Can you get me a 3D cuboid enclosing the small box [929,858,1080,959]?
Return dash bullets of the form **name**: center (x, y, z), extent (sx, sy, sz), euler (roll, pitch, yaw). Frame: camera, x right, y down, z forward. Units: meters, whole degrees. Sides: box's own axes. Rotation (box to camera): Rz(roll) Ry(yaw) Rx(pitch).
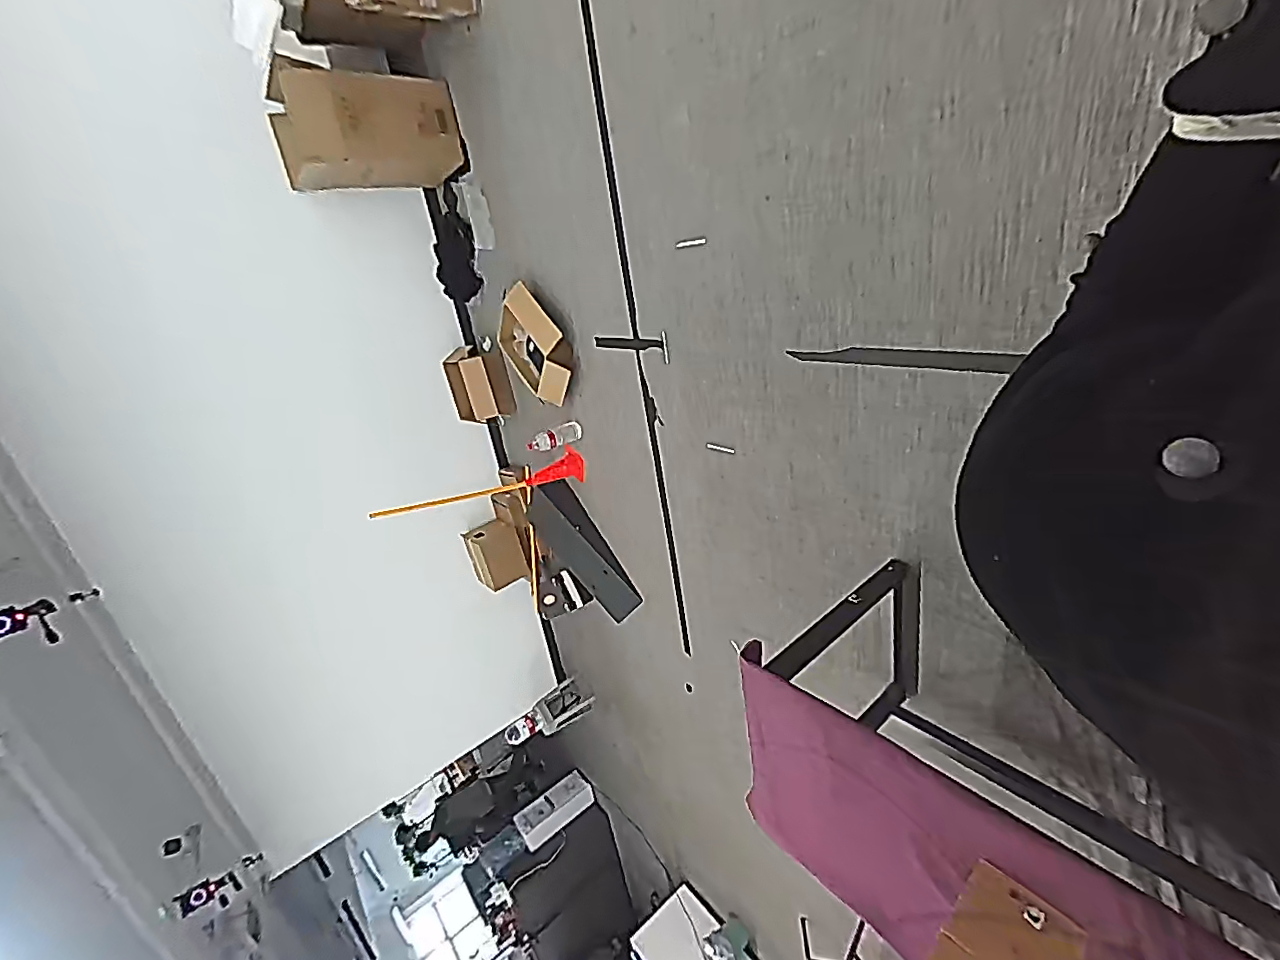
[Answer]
- **small box**: center (0.620, 0.814, 0.928), extent (0.168, 0.176, 0.179), euler (20, 126, 46)
